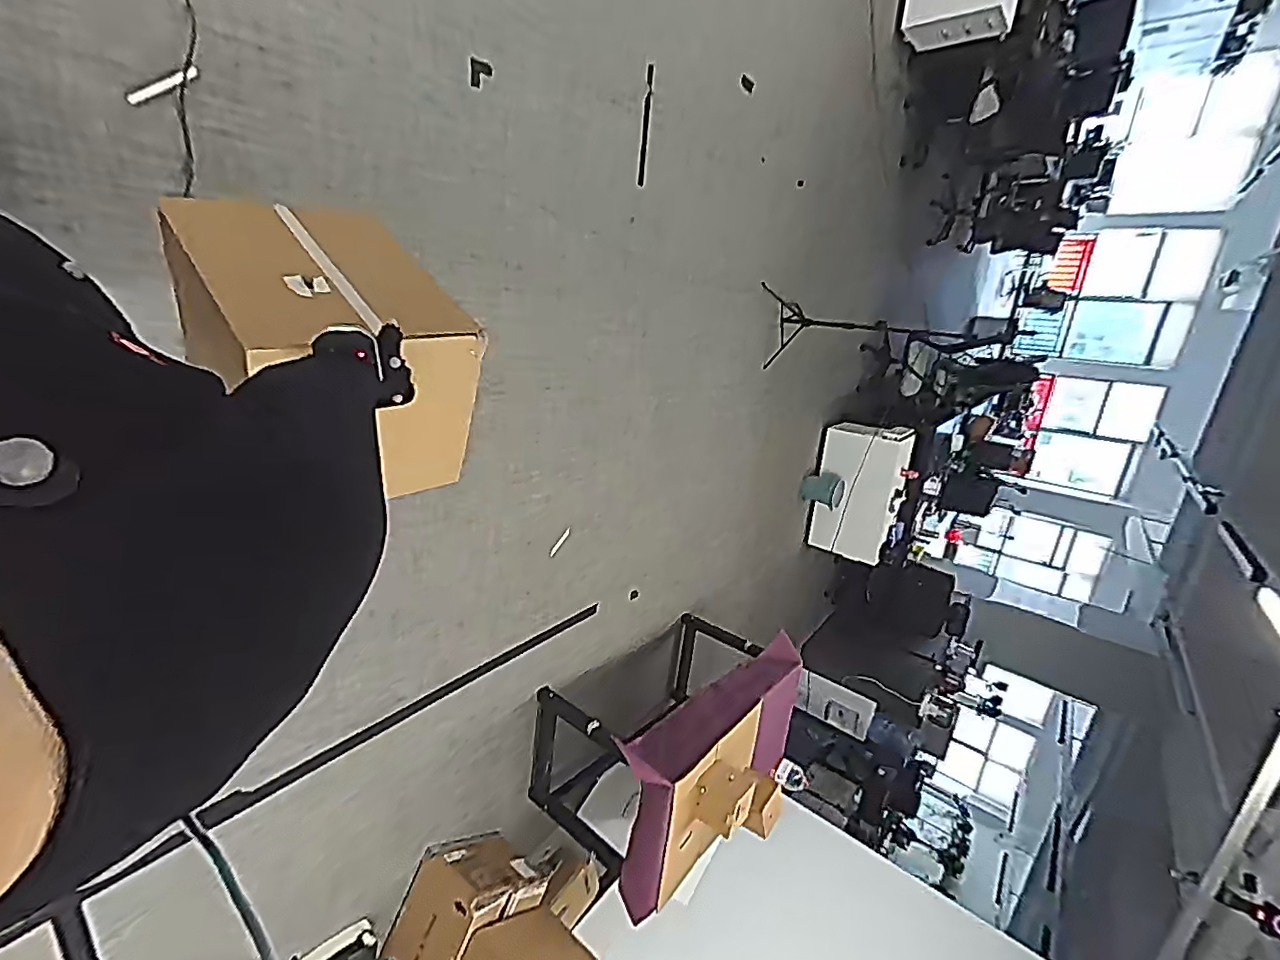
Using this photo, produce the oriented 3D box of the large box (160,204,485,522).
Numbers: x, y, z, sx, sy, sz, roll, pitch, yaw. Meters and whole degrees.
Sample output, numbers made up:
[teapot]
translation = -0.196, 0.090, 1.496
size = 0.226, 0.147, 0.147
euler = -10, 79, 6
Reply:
[large box]
translation = -0.525, -0.203, 0.905
size = 0.320, 0.408, 0.320
euler = -20, 147, -43
